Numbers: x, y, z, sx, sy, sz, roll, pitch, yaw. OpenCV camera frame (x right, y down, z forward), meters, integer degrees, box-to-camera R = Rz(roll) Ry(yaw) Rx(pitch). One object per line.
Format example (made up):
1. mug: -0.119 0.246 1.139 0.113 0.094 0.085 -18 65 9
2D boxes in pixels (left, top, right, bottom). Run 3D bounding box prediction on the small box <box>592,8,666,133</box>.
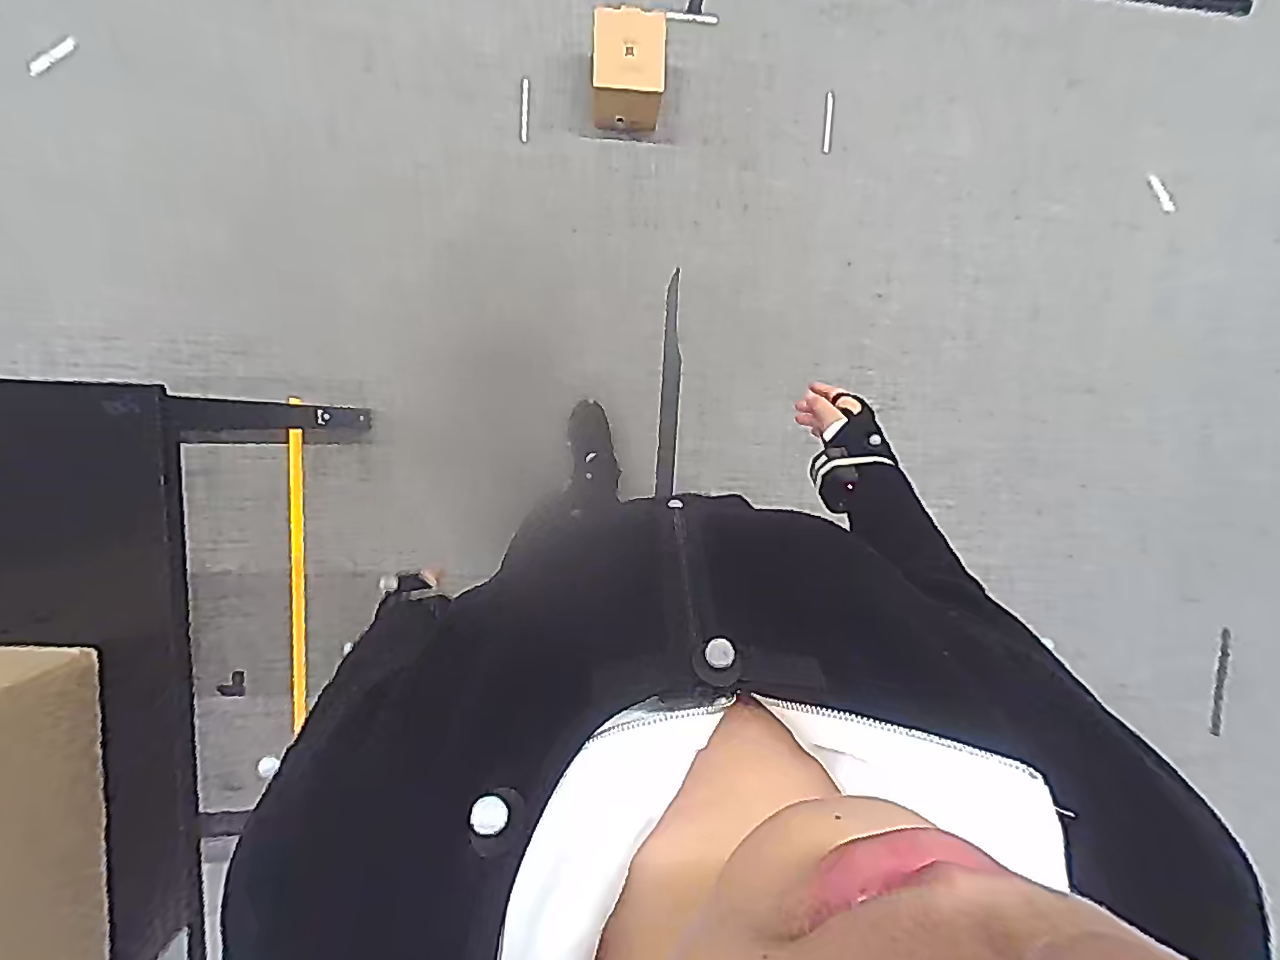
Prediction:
1. small box: -0.031 -0.983 1.309 0.168 0.176 0.179 0 96 -5
